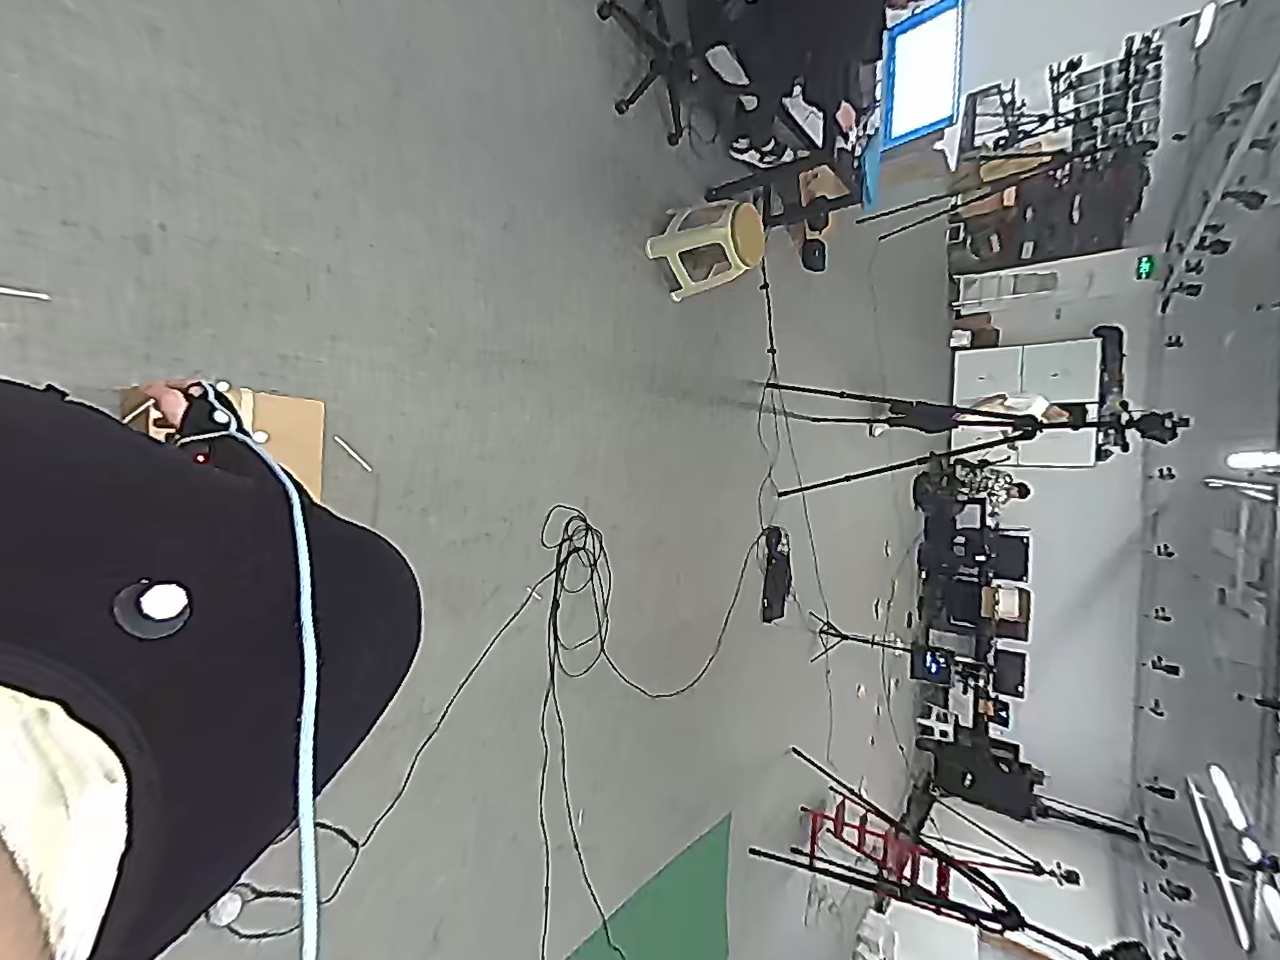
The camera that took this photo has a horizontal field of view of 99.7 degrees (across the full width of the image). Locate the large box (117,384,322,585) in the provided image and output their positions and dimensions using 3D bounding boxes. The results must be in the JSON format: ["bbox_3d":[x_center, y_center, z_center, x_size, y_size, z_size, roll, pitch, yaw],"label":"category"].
[{"bbox_3d":[-0.975,-0.001,1.257,0.320,0.320,0.408,1,92,-52],"label":"large box"}]
